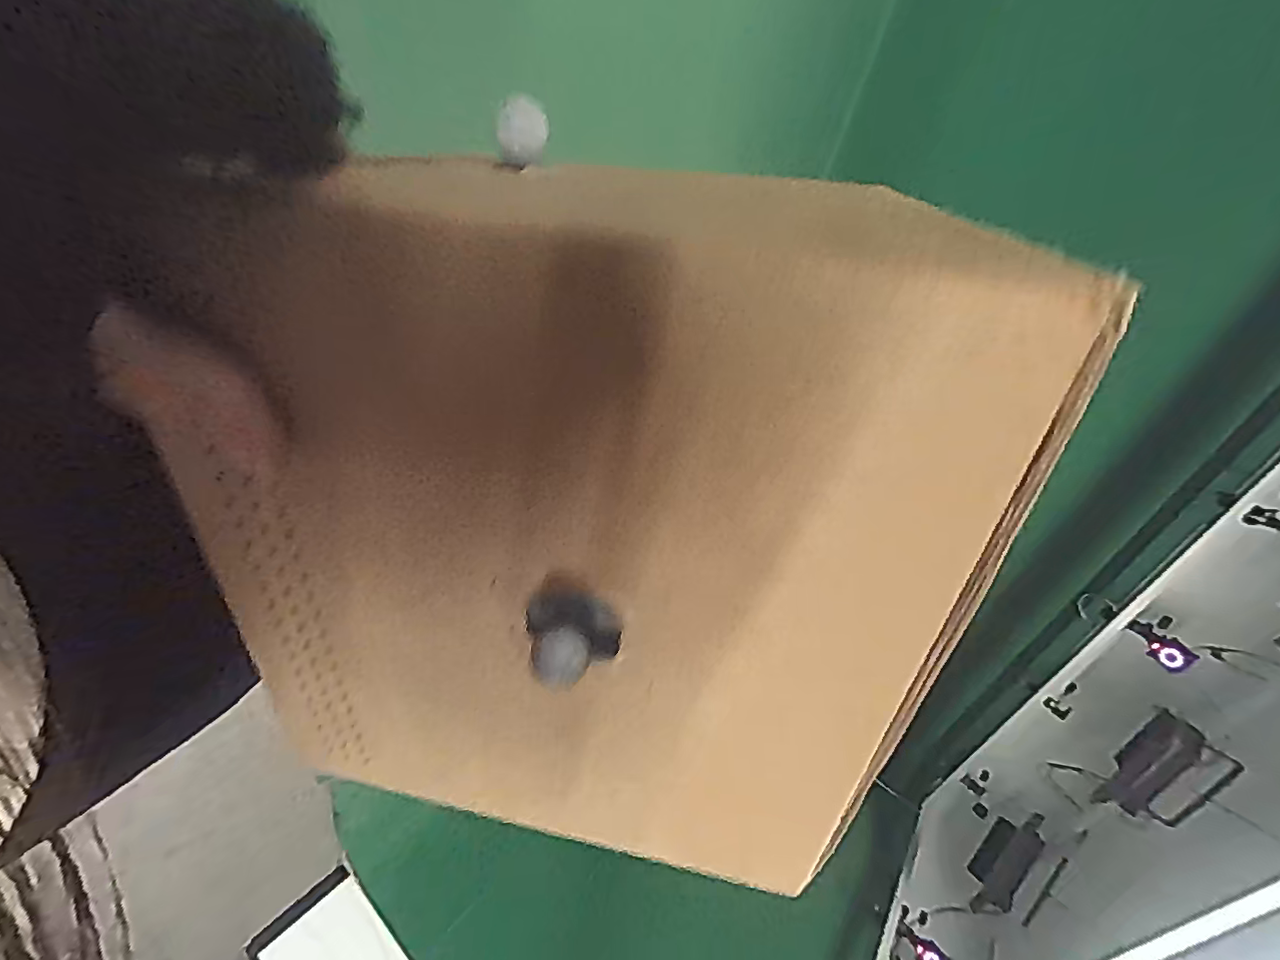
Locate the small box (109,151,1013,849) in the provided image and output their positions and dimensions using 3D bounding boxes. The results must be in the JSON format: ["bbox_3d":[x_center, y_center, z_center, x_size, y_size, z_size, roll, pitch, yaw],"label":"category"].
[{"bbox_3d":[-0.016,-0.011,0.200,0.168,0.176,0.179,-70,167,-58],"label":"small box"}]
